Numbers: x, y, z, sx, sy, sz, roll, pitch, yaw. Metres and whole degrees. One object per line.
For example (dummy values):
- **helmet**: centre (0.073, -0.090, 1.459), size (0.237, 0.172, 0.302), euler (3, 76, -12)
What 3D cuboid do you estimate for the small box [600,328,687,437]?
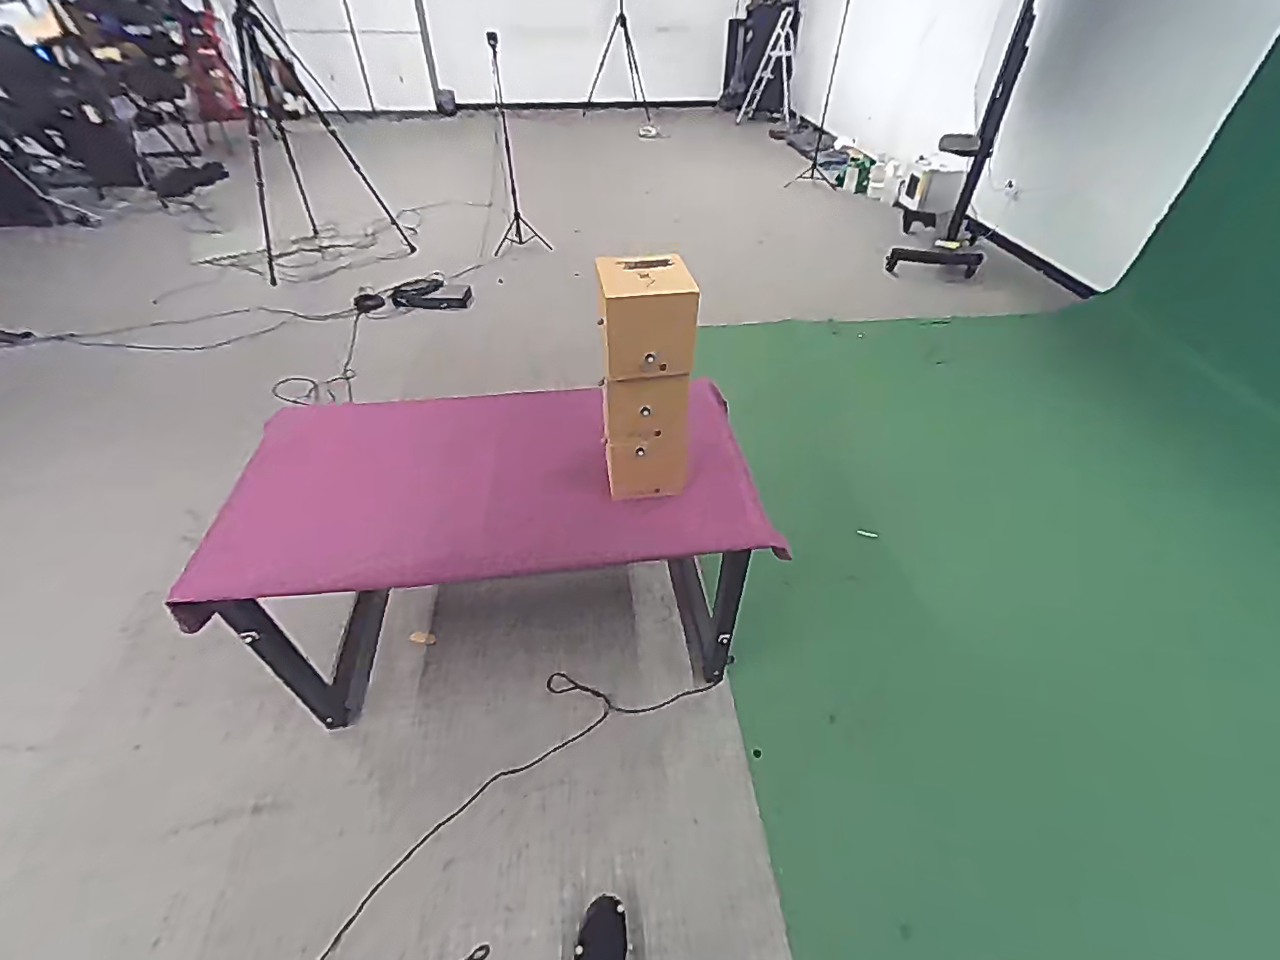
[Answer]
- **small box**: centre (0.005, -0.202, 1.148), size (0.168, 0.176, 0.179), euler (-4, 43, -5)

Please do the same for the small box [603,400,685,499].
- **small box**: centre (0.005, -0.079, 1.259), size (0.168, 0.176, 0.179), euler (-6, 43, -5)
